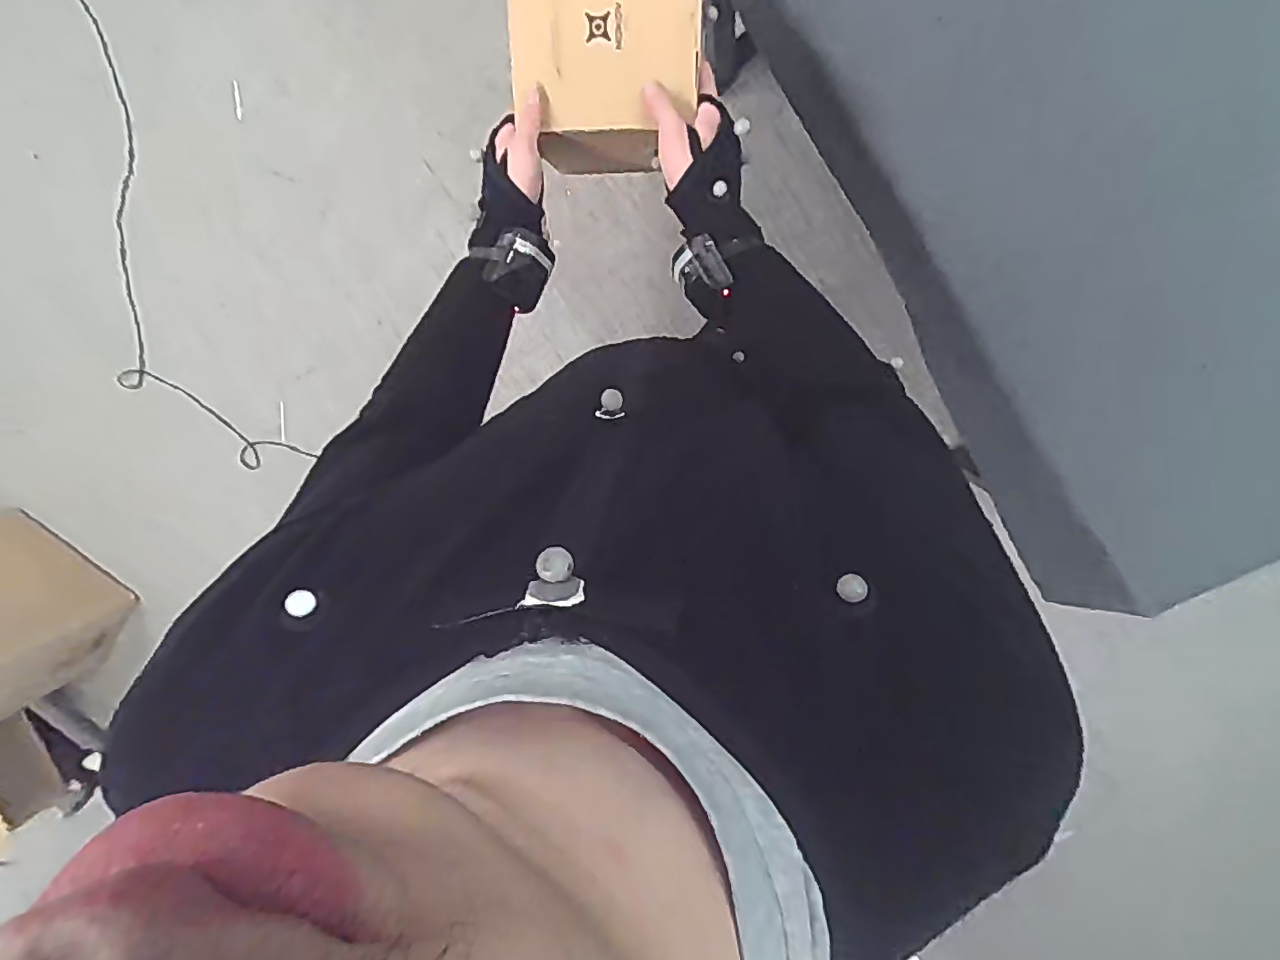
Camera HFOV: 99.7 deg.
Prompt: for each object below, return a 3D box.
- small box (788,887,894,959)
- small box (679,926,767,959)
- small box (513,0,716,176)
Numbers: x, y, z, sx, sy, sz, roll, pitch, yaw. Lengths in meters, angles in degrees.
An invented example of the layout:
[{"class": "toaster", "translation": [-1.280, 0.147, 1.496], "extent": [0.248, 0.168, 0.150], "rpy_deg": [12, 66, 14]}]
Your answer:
[{"class": "small box", "translation": [0.413, 0.980, 1.095], "extent": [0.179, 0.176, 0.168], "rpy_deg": [-29, 101, 14]}, {"class": "small box", "translation": [0.190, 1.110, 1.156], "extent": [0.179, 0.176, 0.168], "rpy_deg": [-33, 100, 14]}, {"class": "small box", "translation": [-0.016, -0.419, 0.541], "extent": [0.179, 0.176, 0.168], "rpy_deg": [0, 105, 6]}]
